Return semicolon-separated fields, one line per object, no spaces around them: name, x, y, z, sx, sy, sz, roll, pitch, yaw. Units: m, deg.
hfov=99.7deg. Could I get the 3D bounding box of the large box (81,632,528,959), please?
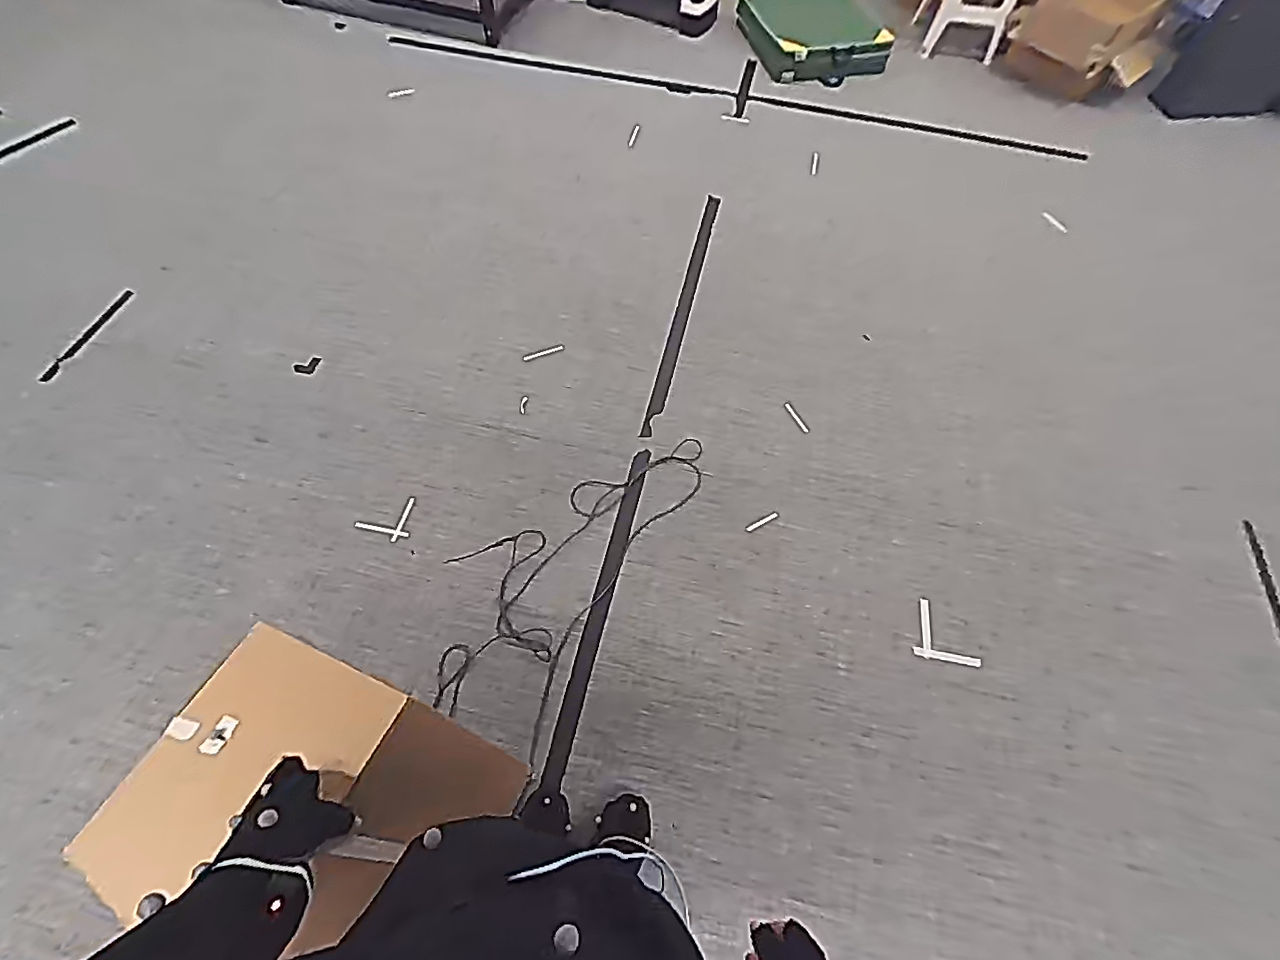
large box;-0.438;0.479;0.804;0.320;0.408;0.320;14;58;26
